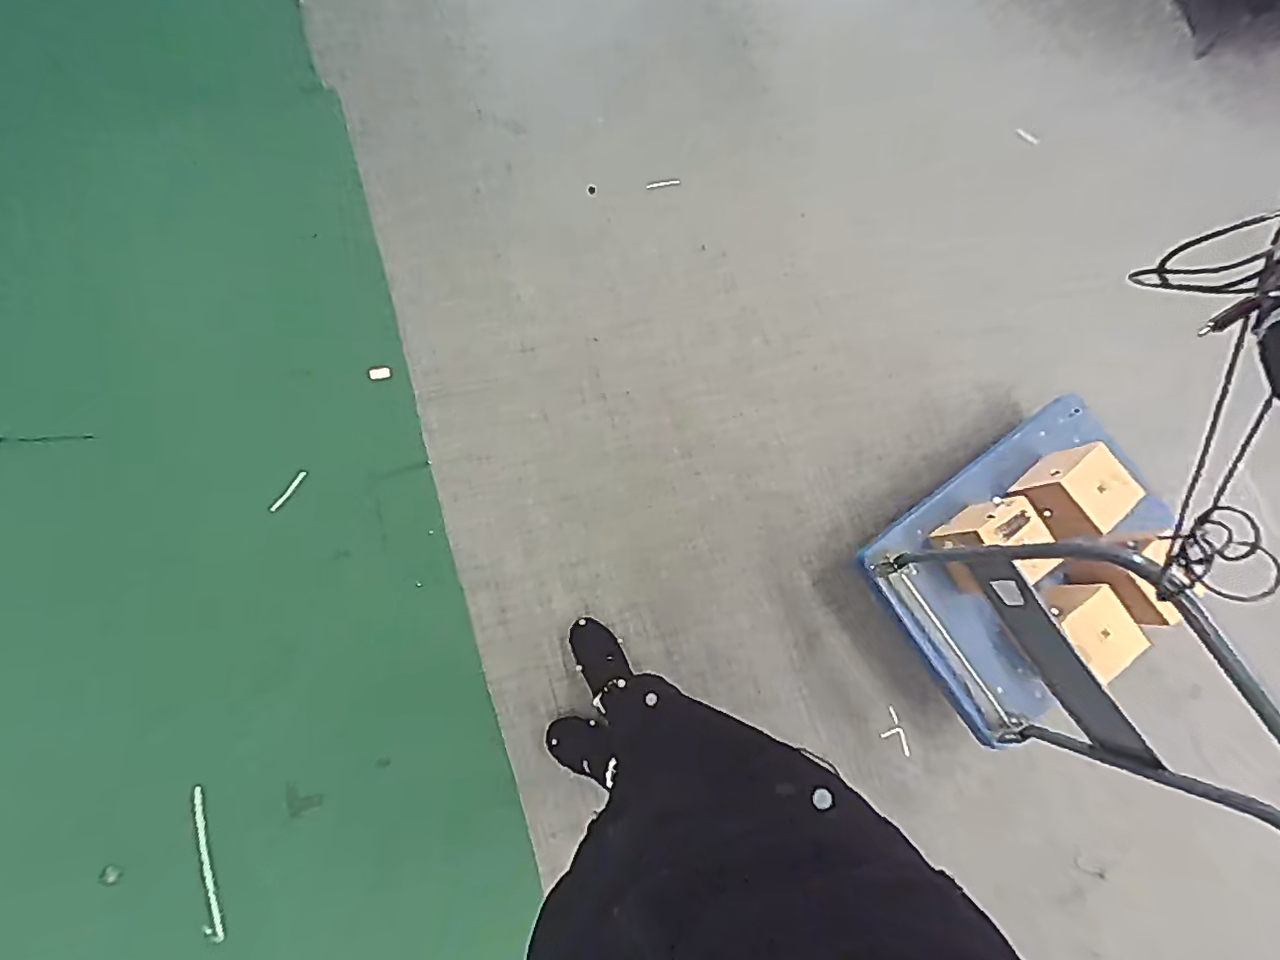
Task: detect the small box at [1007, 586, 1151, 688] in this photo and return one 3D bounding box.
[{"bbox_3d":[1.046,0.368,1.302,0.179,0.176,0.168,-31,84,-12],"label":"small box"}]

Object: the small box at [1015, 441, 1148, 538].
[{"bbox_3d":[1.109,0.032,1.379,0.179,0.176,0.168,-36,86,-13],"label":"small box"}]

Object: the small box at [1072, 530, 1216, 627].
[{"bbox_3d":[1.250,0.244,1.354,0.179,0.176,0.168,-34,84,-12],"label":"small box"}]
